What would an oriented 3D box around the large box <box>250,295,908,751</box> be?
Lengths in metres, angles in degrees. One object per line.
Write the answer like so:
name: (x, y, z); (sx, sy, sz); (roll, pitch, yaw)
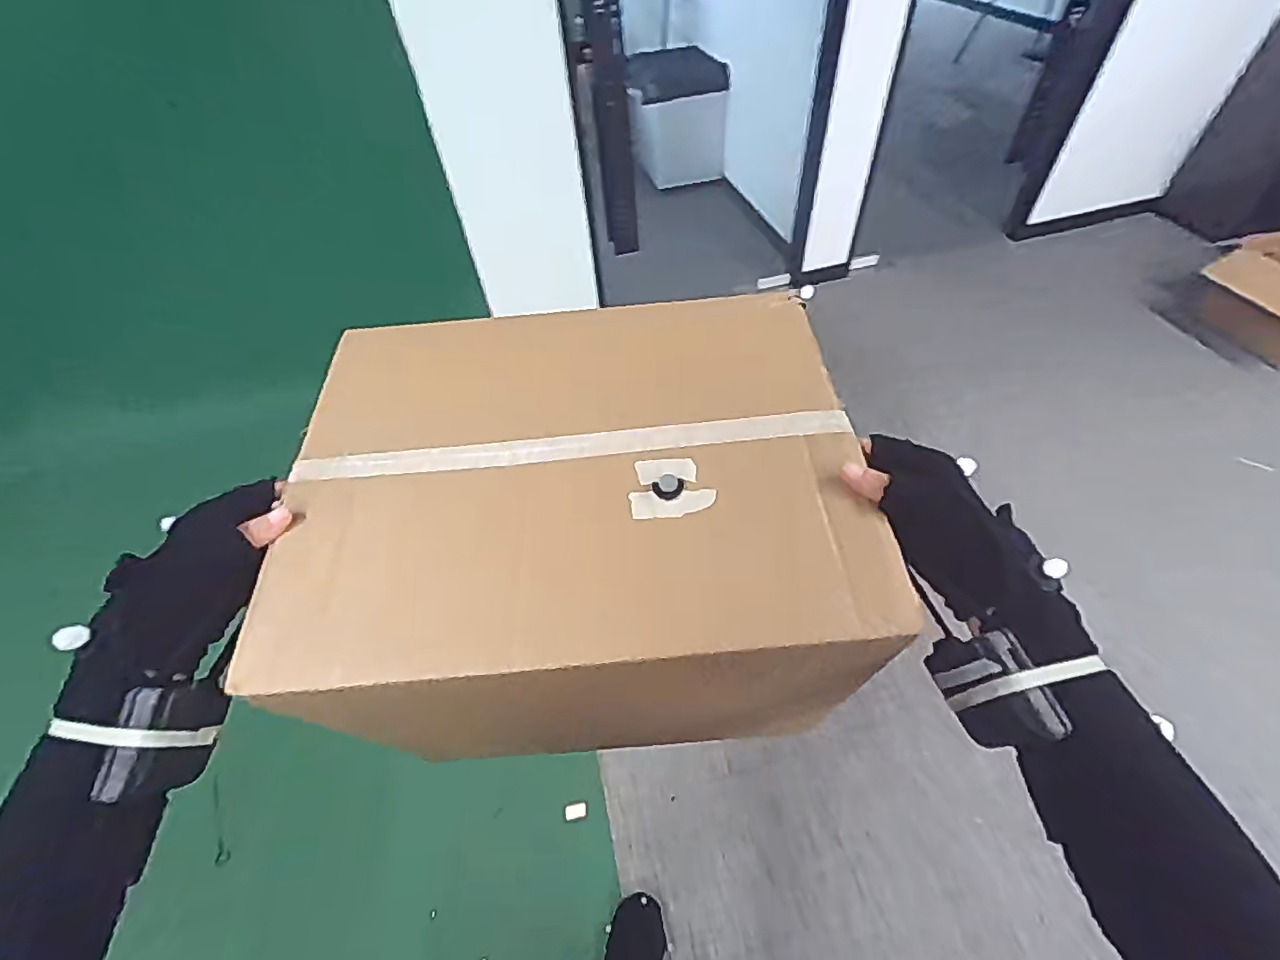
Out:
large box: (-0.042, 0.057, 0.526); (0.408, 0.320, 0.320); (-4, 57, -1)
